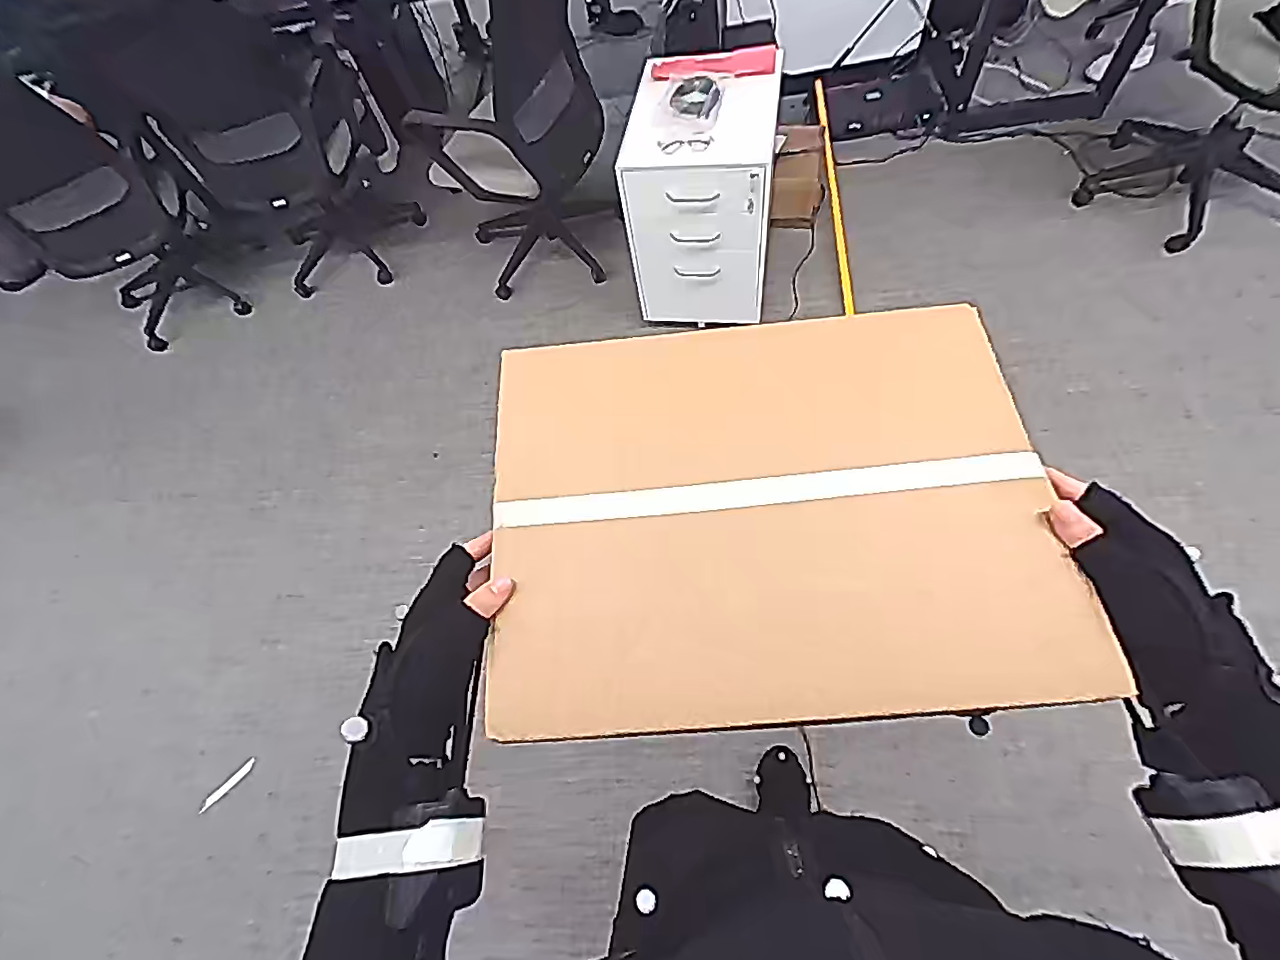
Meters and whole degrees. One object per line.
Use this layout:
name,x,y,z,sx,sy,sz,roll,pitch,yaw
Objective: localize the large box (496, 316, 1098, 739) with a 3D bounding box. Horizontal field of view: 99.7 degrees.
large box,0.102,0.074,0.549,0.408,0.320,0.320,-5,65,2
